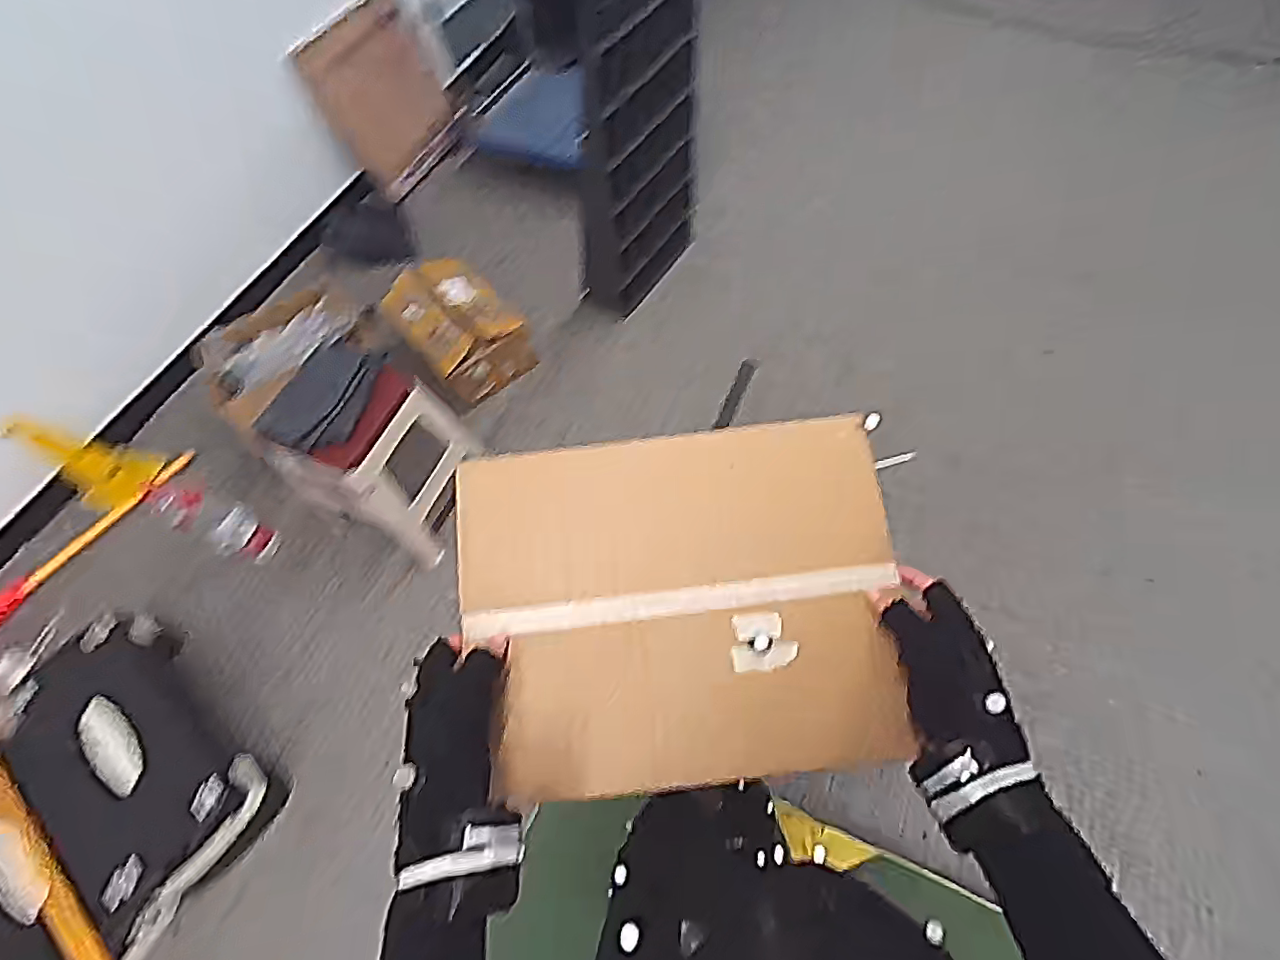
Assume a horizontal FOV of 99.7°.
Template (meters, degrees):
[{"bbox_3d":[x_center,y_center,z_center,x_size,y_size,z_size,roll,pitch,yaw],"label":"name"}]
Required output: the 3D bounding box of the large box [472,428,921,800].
[{"bbox_3d":[0.043,0.152,0.664,0.408,0.320,0.320,-6,77,0],"label":"large box"}]
